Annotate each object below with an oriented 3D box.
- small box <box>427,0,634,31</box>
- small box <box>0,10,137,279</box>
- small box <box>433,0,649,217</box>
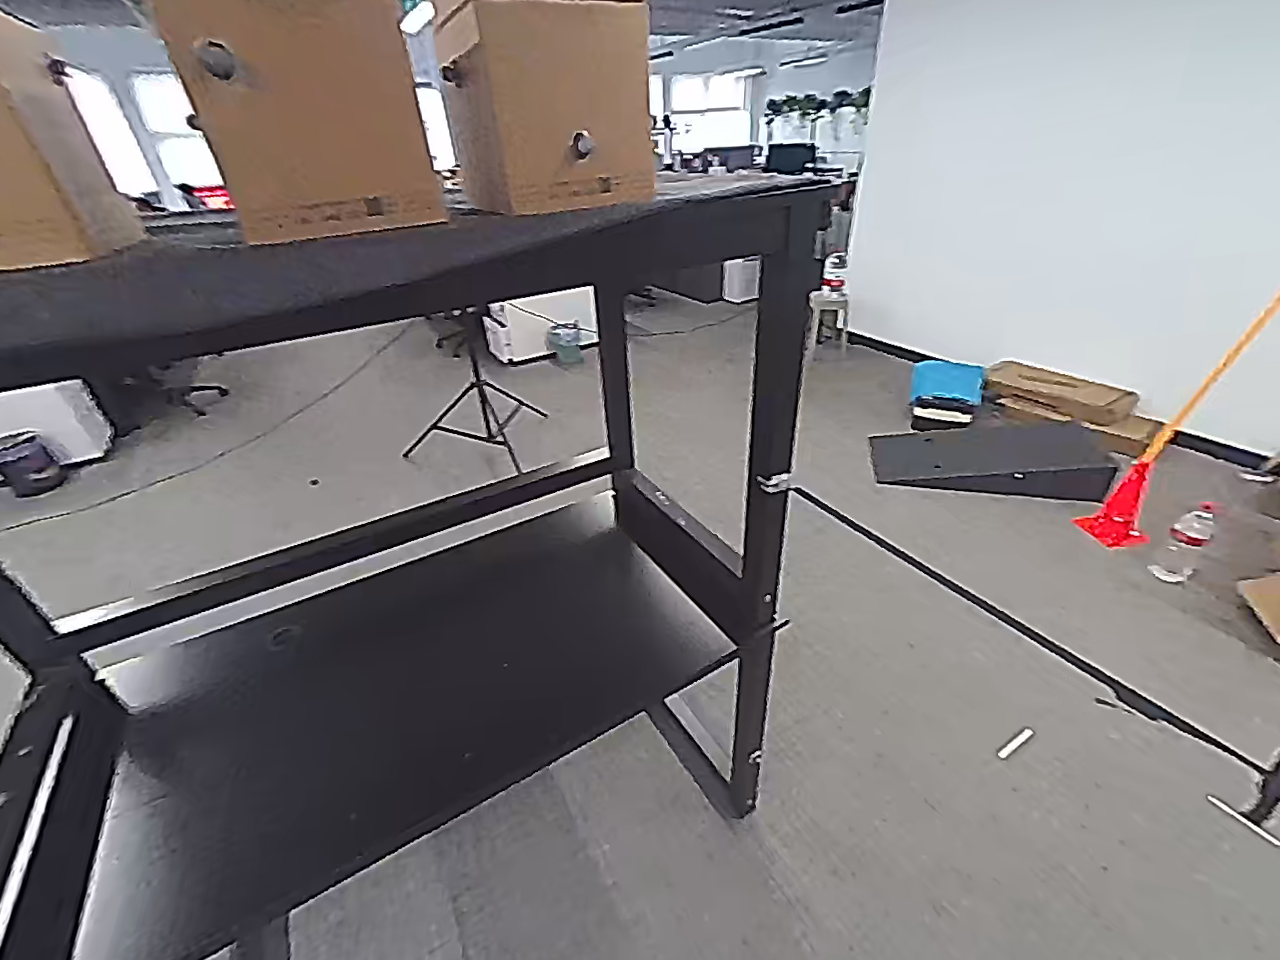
[{"bbox_3d":[-0.112,-0.523,0.493,0.168,0.176,0.179,-19,35,-23],"label":"small box"},{"bbox_3d":[-0.526,-0.241,0.398,0.168,0.176,0.179,-18,33,-22],"label":"small box"},{"bbox_3d":[-0.103,-0.383,0.578,0.168,0.176,0.179,-20,35,-23],"label":"small box"}]
